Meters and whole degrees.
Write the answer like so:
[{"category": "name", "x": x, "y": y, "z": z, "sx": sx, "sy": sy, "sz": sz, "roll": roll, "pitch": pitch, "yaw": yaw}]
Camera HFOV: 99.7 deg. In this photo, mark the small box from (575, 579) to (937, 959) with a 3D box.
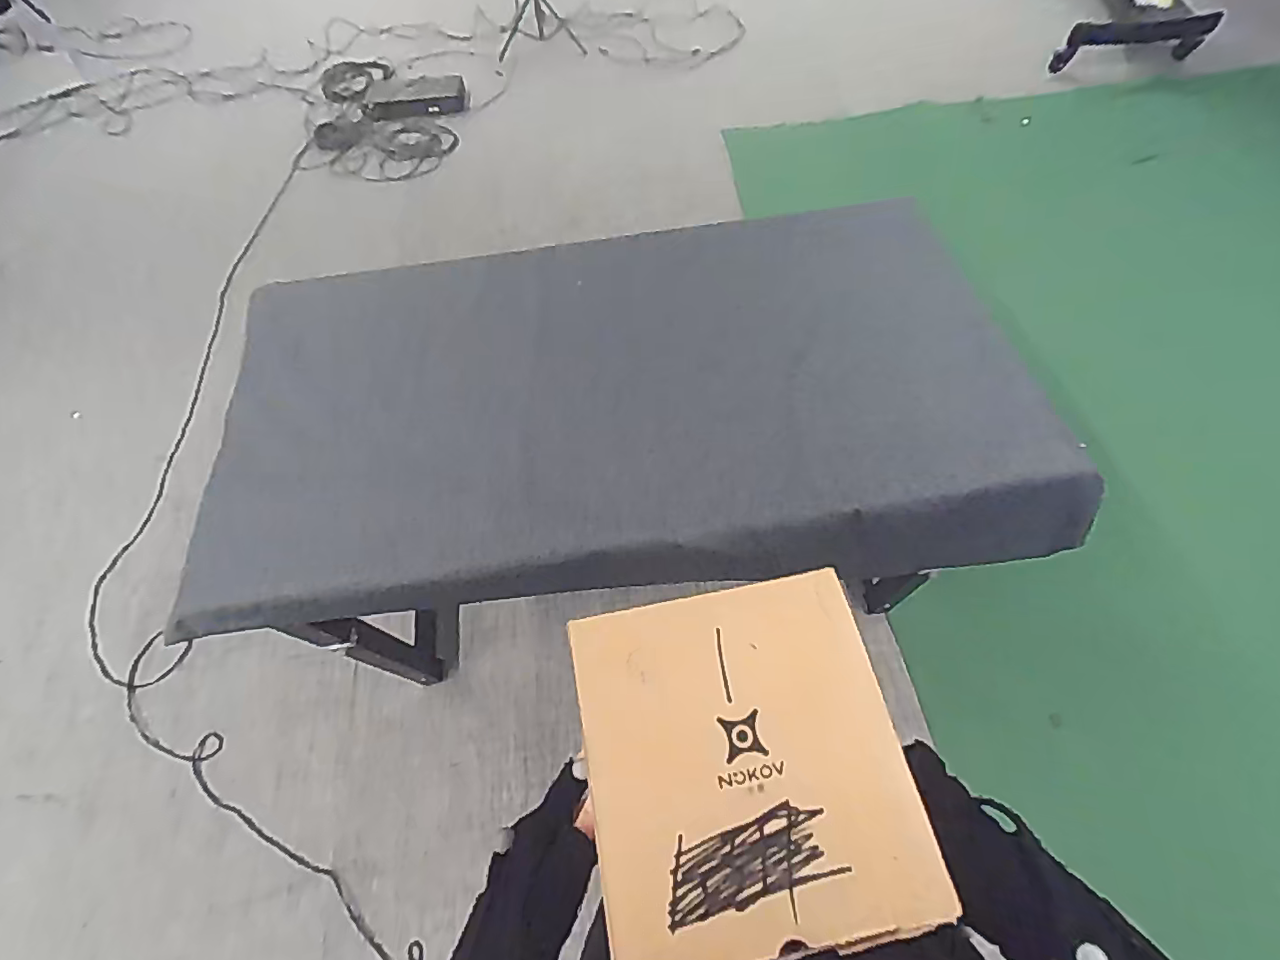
[{"category": "small box", "x": 0.054, "y": 0.184, "z": 0.368, "sx": 0.168, "sy": 0.176, "sz": 0.179, "roll": -9, "pitch": 63, "yaw": -5}]
